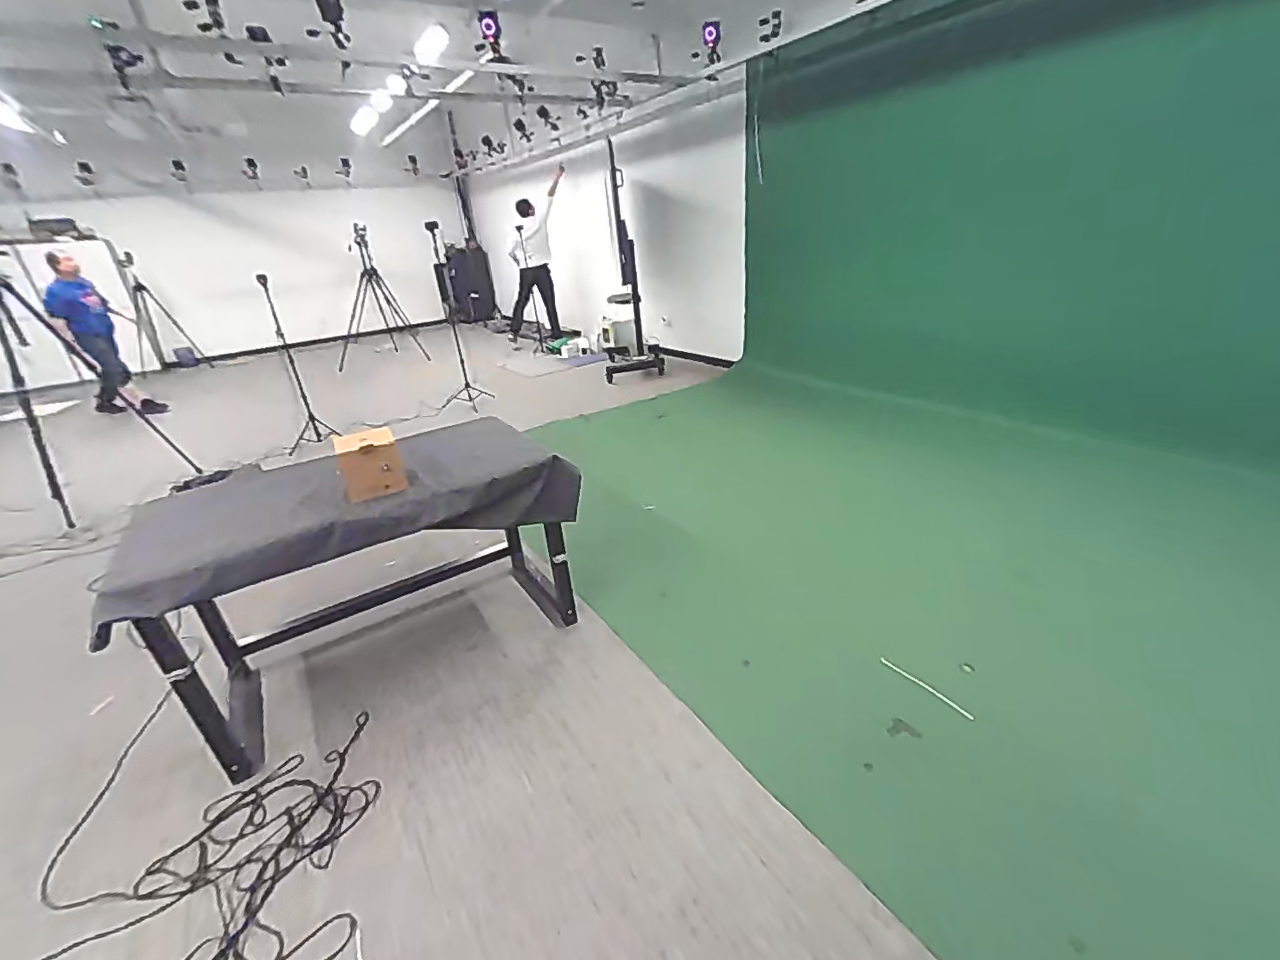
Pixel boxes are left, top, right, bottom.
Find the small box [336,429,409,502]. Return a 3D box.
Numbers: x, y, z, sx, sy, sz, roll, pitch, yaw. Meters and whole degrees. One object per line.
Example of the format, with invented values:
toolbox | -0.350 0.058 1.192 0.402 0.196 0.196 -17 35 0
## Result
small box | -0.839 -0.044 1.699 0.168 0.176 0.179 -17 26 -26
